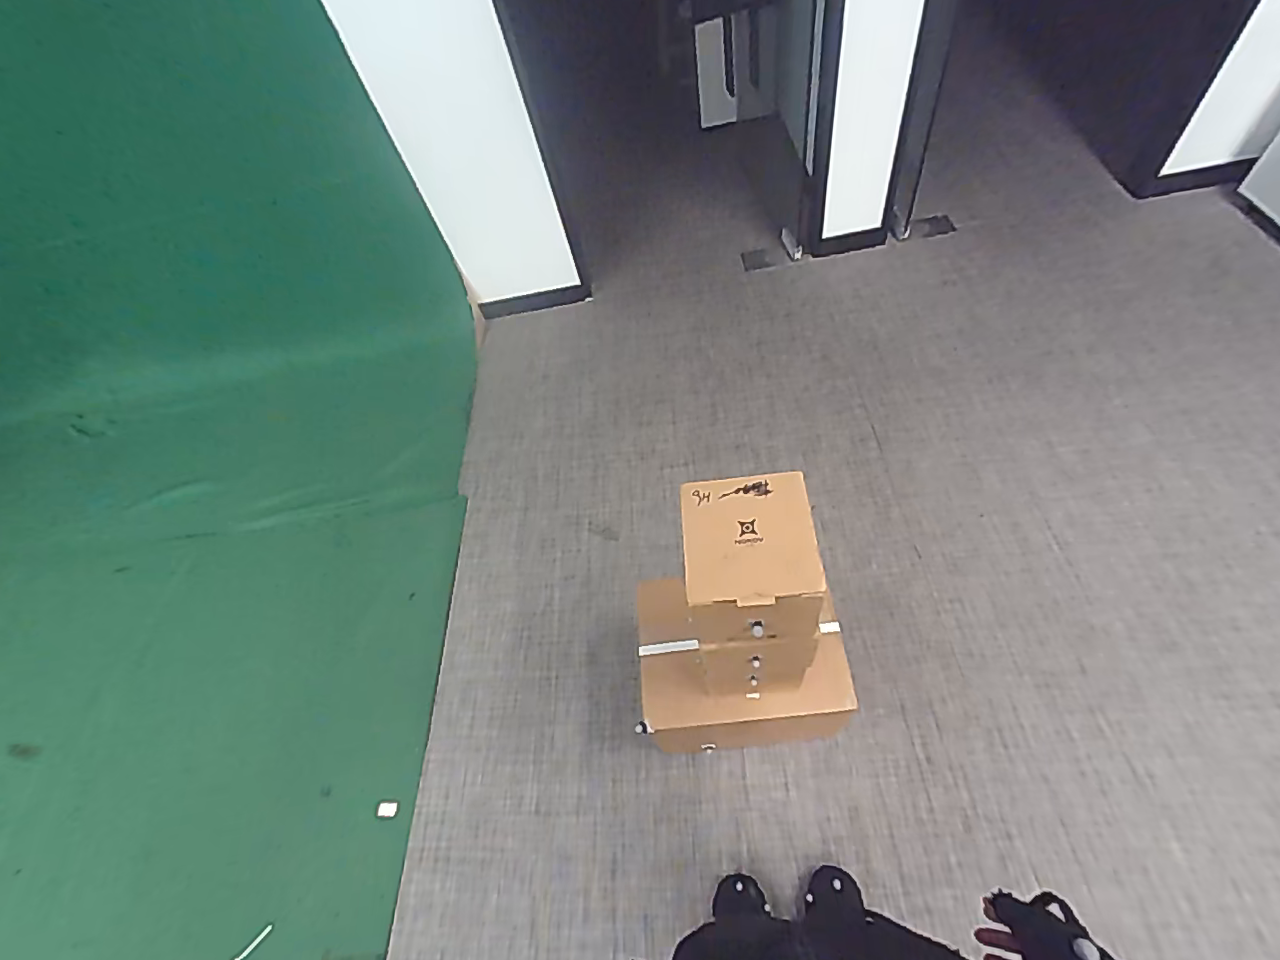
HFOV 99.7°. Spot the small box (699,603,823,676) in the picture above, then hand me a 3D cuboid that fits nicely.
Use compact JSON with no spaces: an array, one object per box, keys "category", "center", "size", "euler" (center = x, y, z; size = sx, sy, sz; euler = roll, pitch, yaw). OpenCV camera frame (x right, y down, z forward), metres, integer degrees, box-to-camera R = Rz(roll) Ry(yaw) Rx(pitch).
[{"category":"small box","center":[0.180,0.209,0.880],"size":[0.179,0.176,0.168],"euler":[-10,56,5]}]

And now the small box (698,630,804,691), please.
[{"category":"small box","center":[0.202,0.293,1.019],"size":[0.179,0.176,0.168],"euler":[-7,57,7]}]

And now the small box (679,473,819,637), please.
[{"category":"small box","center":[0.148,0.113,0.751],"size":[0.168,0.176,0.179],"euler":[-6,57,10]}]
